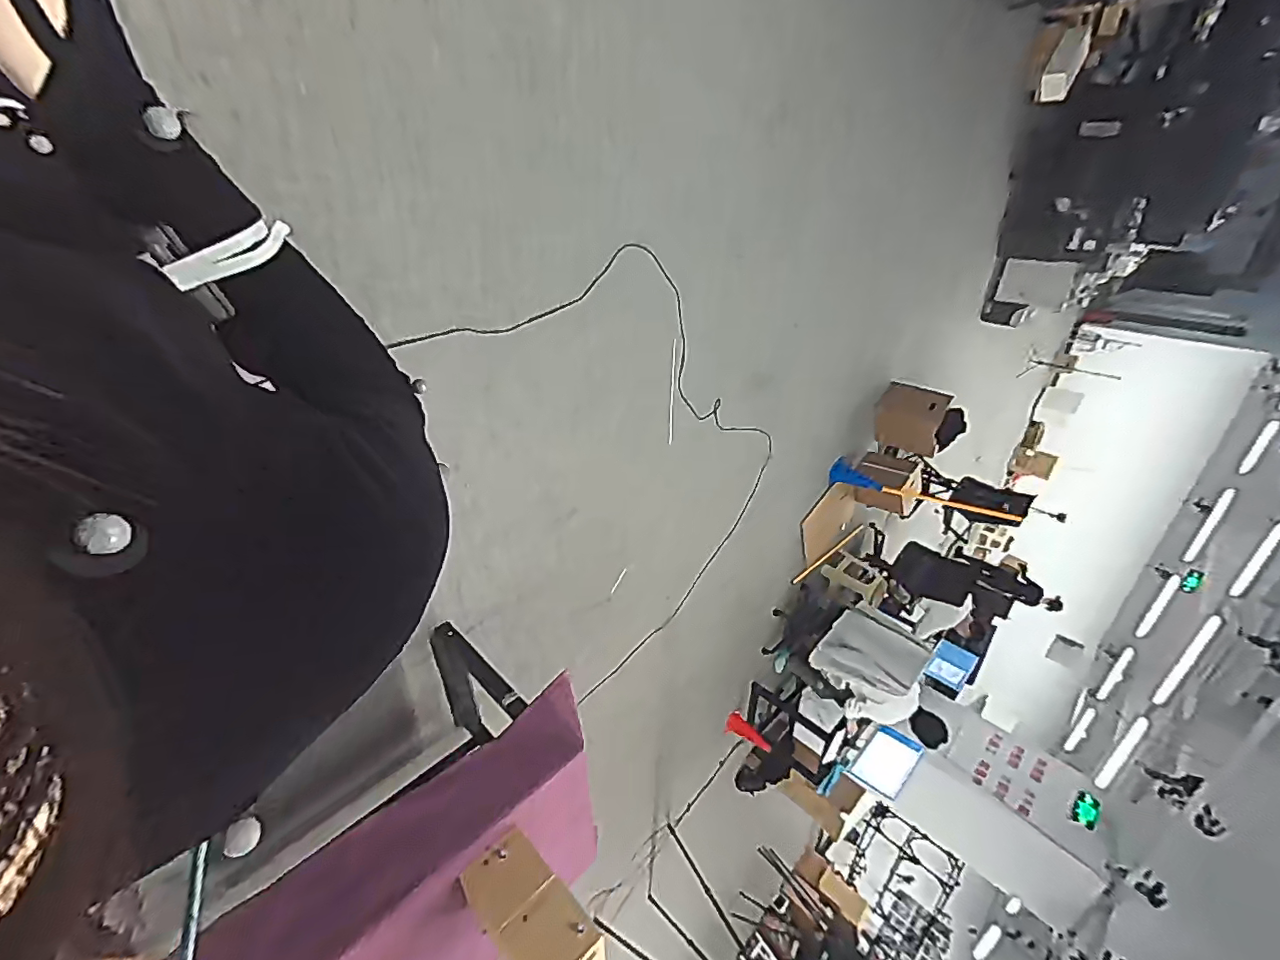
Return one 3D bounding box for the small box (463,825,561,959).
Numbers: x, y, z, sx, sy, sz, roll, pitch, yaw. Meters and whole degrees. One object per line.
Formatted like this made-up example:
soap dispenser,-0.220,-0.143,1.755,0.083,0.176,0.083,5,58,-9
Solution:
small box,-0.315,1.006,1.335,0.168,0.176,0.179,-27,129,-38
